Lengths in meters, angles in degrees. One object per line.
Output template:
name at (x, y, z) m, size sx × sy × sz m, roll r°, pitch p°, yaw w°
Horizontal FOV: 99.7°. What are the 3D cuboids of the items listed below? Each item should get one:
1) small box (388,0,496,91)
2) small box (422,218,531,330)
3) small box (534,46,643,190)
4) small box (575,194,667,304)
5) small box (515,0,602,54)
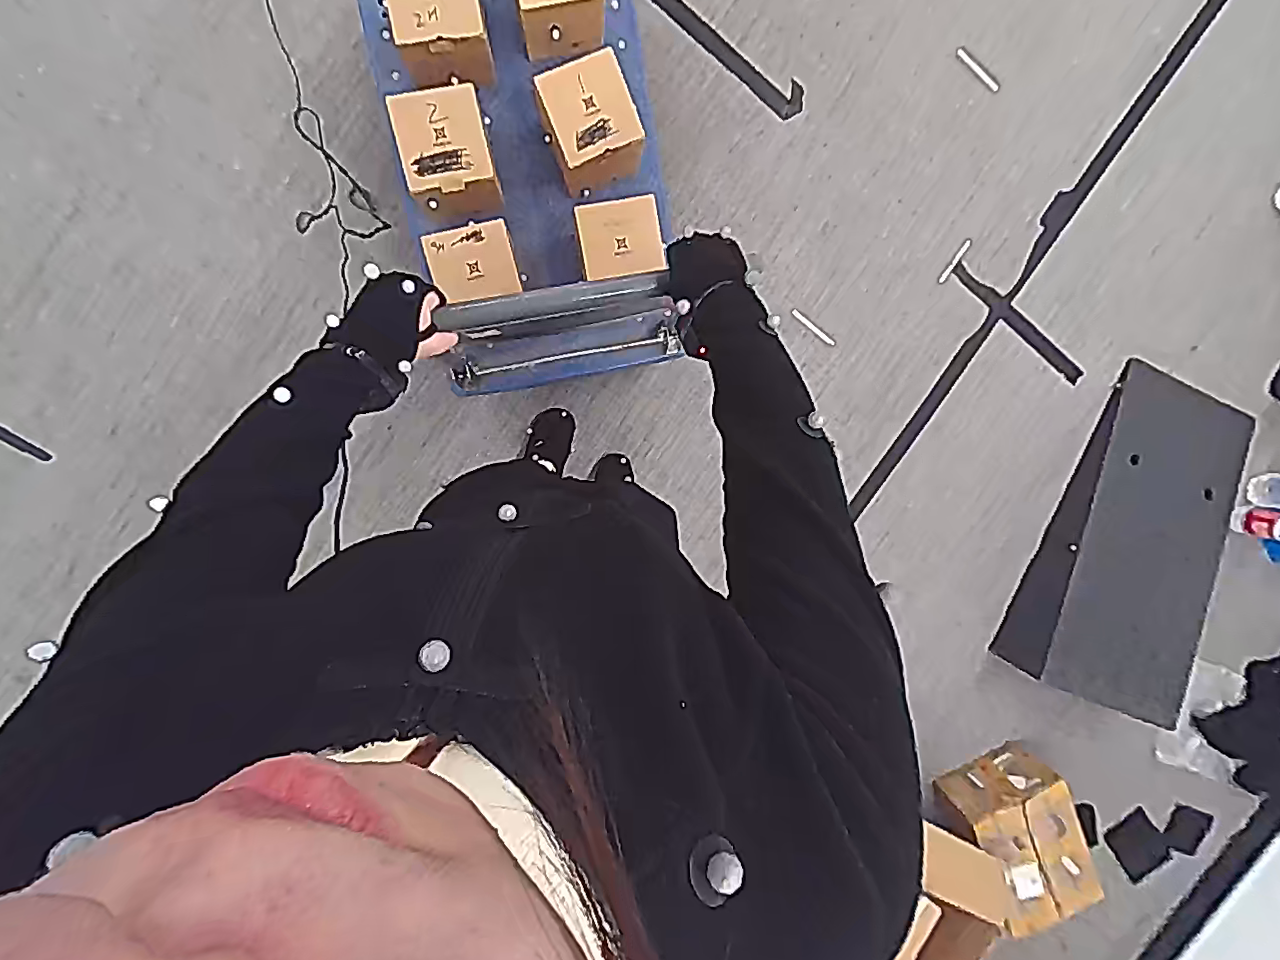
small box at (-0.392, -0.914, 1.067) m, size 0.168 × 0.176 × 0.179 m, roll -10°, pitch 100°, yaw -5°
small box at (-0.334, -0.424, 1.145) m, size 0.168 × 0.176 × 0.179 m, roll -15°, pitch 100°, yaw -5°
small box at (-0.105, -0.735, 1.126) m, size 0.168 × 0.176 × 0.179 m, roll -23°, pitch 99°, yaw -2°
small box at (-0.044, -0.489, 1.170) m, size 0.168 × 0.176 × 0.179 m, roll -11°, pitch 99°, yaw -5°
small box at (-0.172, -0.996, 1.082) m, size 0.168 × 0.176 × 0.179 m, roll -14°, pitch 100°, yaw -4°
